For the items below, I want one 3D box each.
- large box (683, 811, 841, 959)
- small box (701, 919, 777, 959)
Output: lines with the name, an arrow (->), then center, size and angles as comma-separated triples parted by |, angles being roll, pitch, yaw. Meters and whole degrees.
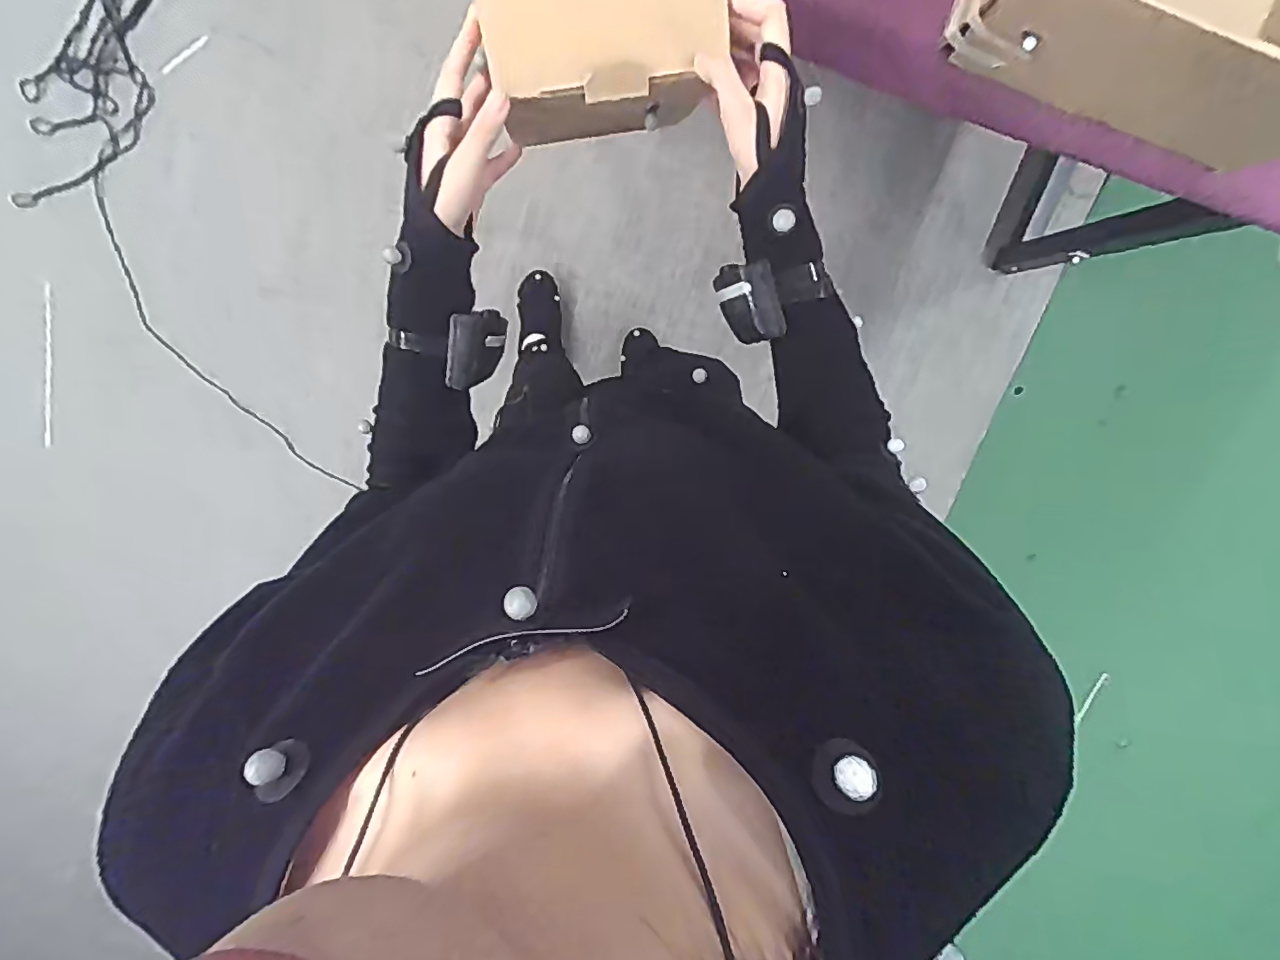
large box -> 0.348, 1.268, 1.657 | 0.408, 0.320, 0.320 | 3, 104, 0
small box -> 0.258, 1.301, 1.415 | 0.179, 0.176, 0.168 | 8, 103, 0
